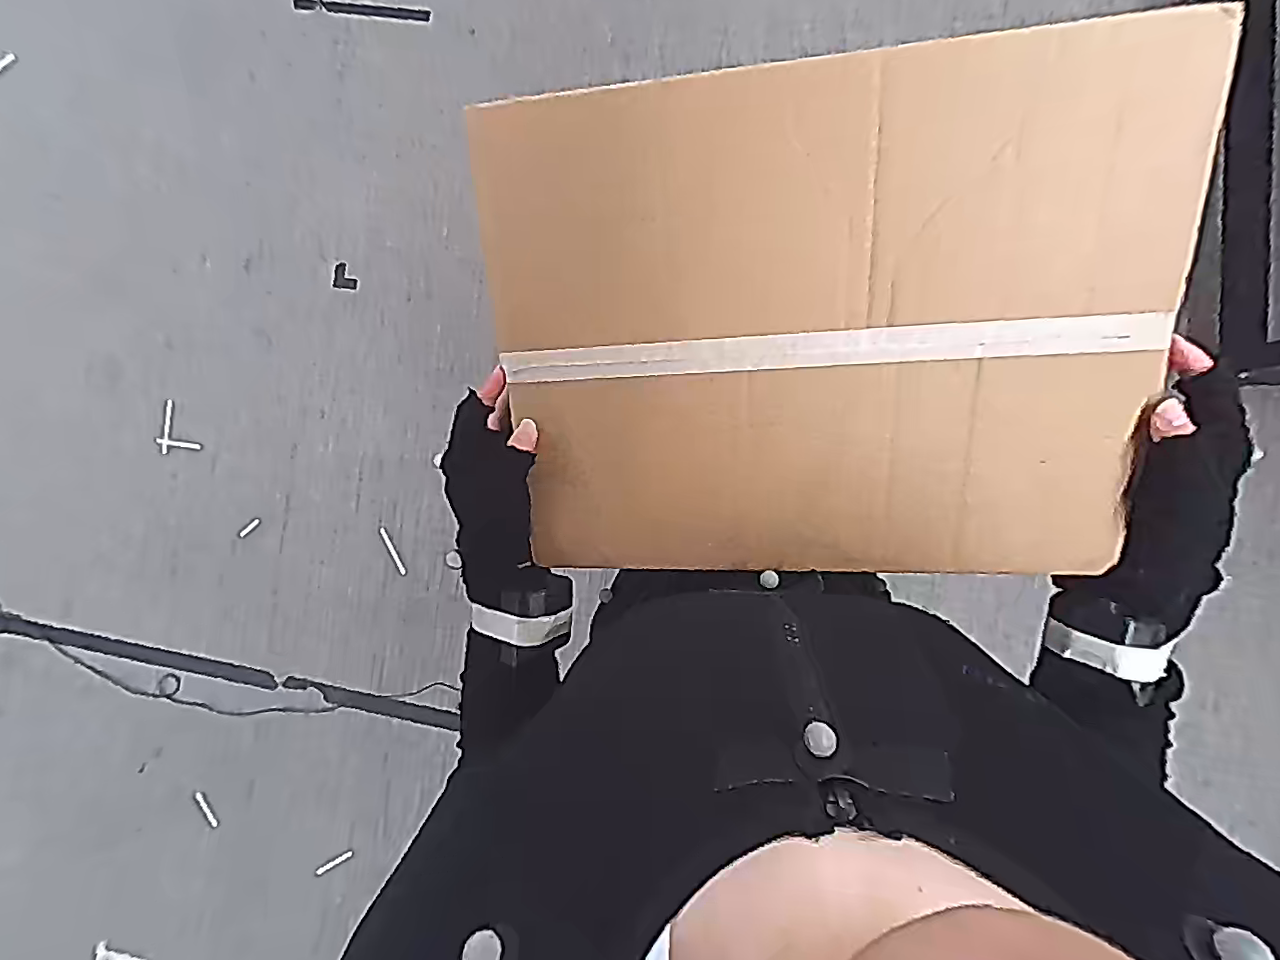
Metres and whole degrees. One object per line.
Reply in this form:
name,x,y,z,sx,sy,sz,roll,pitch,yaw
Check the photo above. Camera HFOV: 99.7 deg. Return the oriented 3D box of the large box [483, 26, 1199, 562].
large box,0.125,-0.131,0.495,0.408,0.320,0.320,-1,109,9
